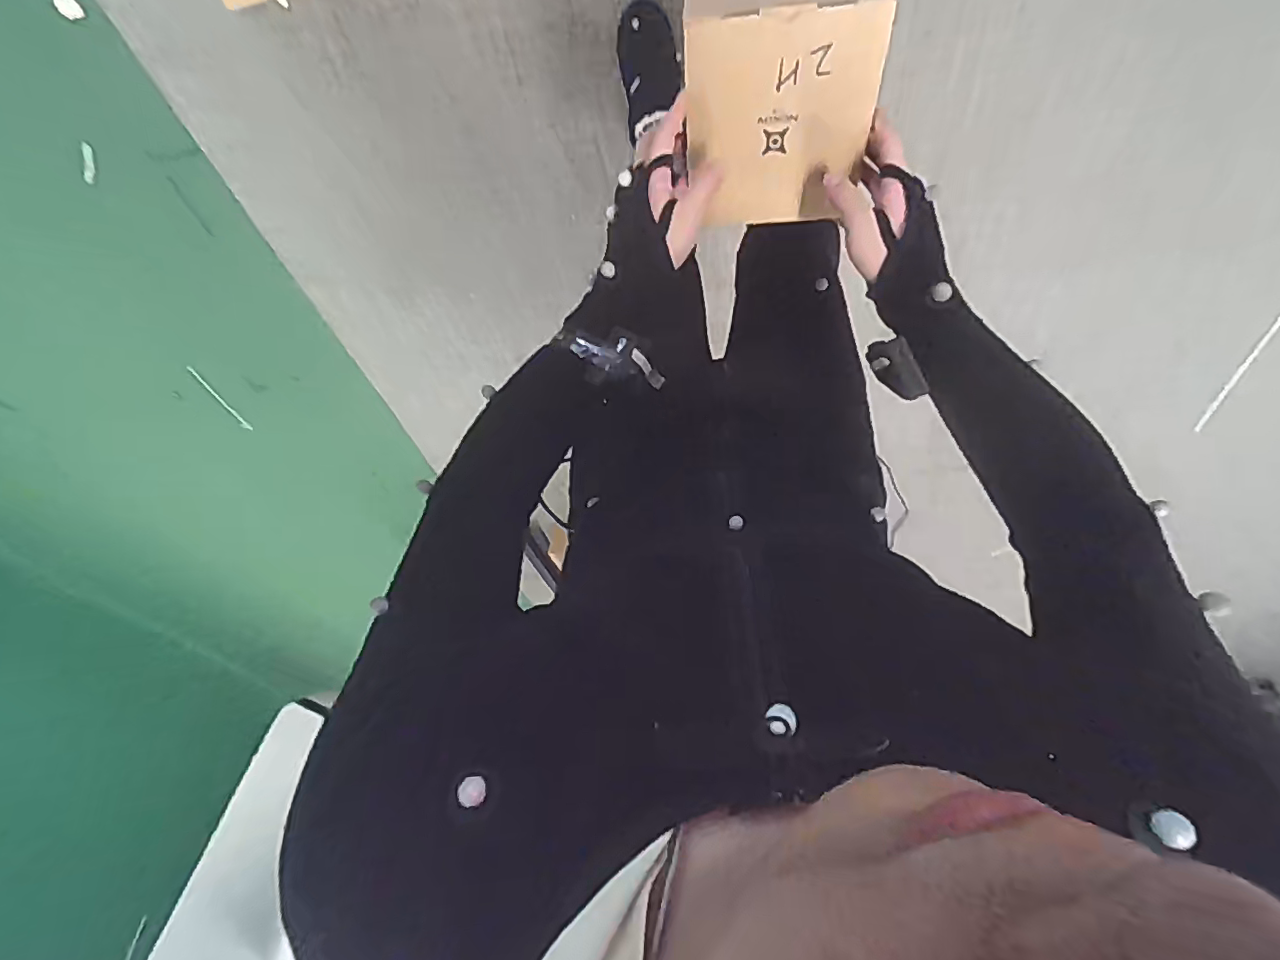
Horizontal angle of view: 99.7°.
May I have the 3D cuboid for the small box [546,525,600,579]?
[{"bbox_3d":[-0.280,0.302,2.300,0.168,0.176,0.179,-4,139,16],"label":"small box"}]
